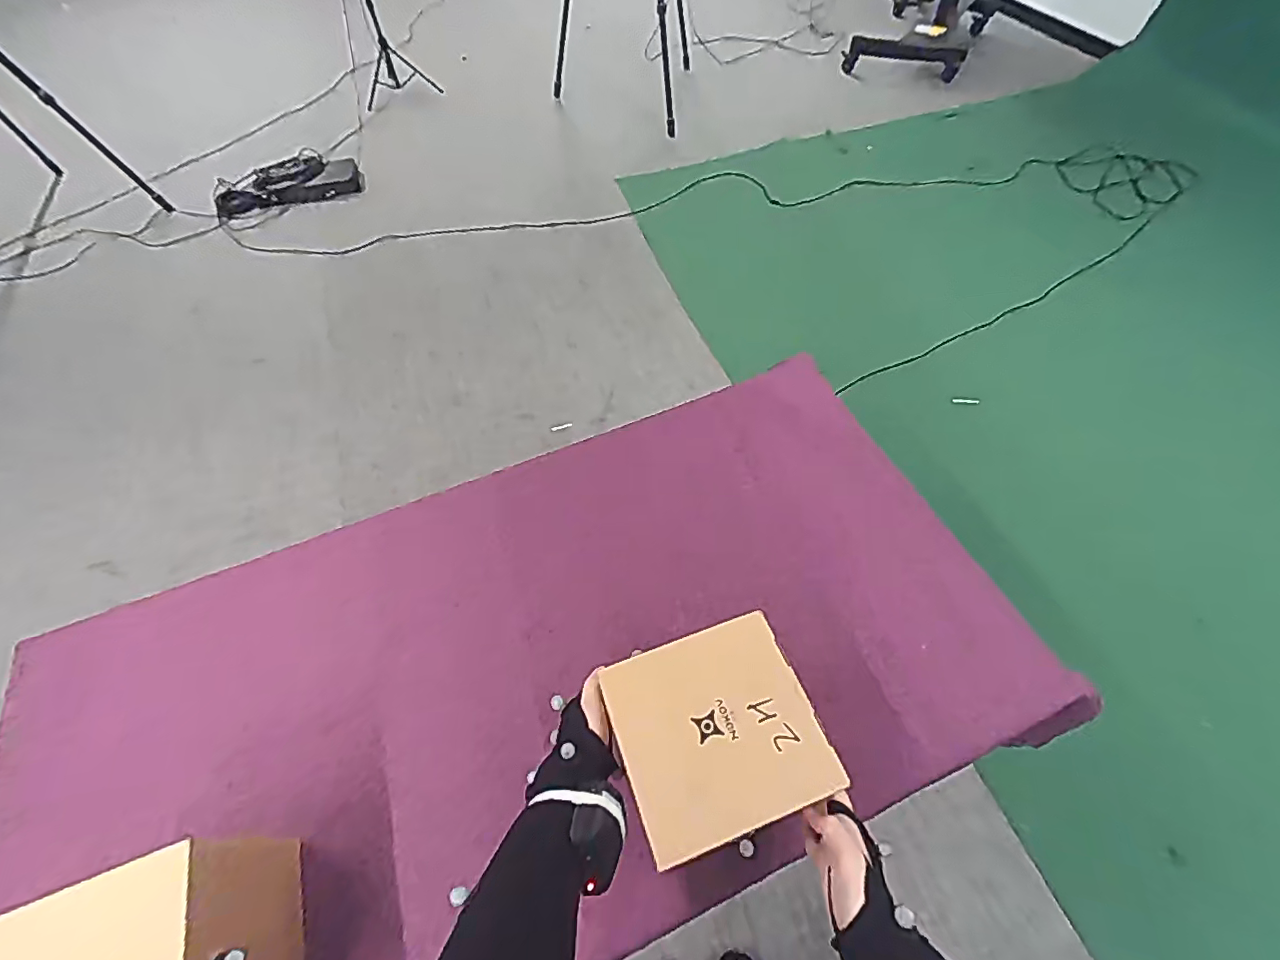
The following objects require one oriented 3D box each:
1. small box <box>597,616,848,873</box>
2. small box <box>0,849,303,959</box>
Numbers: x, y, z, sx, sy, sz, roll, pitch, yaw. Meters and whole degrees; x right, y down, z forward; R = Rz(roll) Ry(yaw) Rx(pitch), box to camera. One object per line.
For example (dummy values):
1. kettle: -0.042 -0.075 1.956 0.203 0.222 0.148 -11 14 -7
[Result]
1. small box: 0.070 0.267 0.542 0.179 0.176 0.168 -18 56 -11
2. small box: -0.411 0.442 0.454 0.168 0.176 0.179 -20 59 -11
